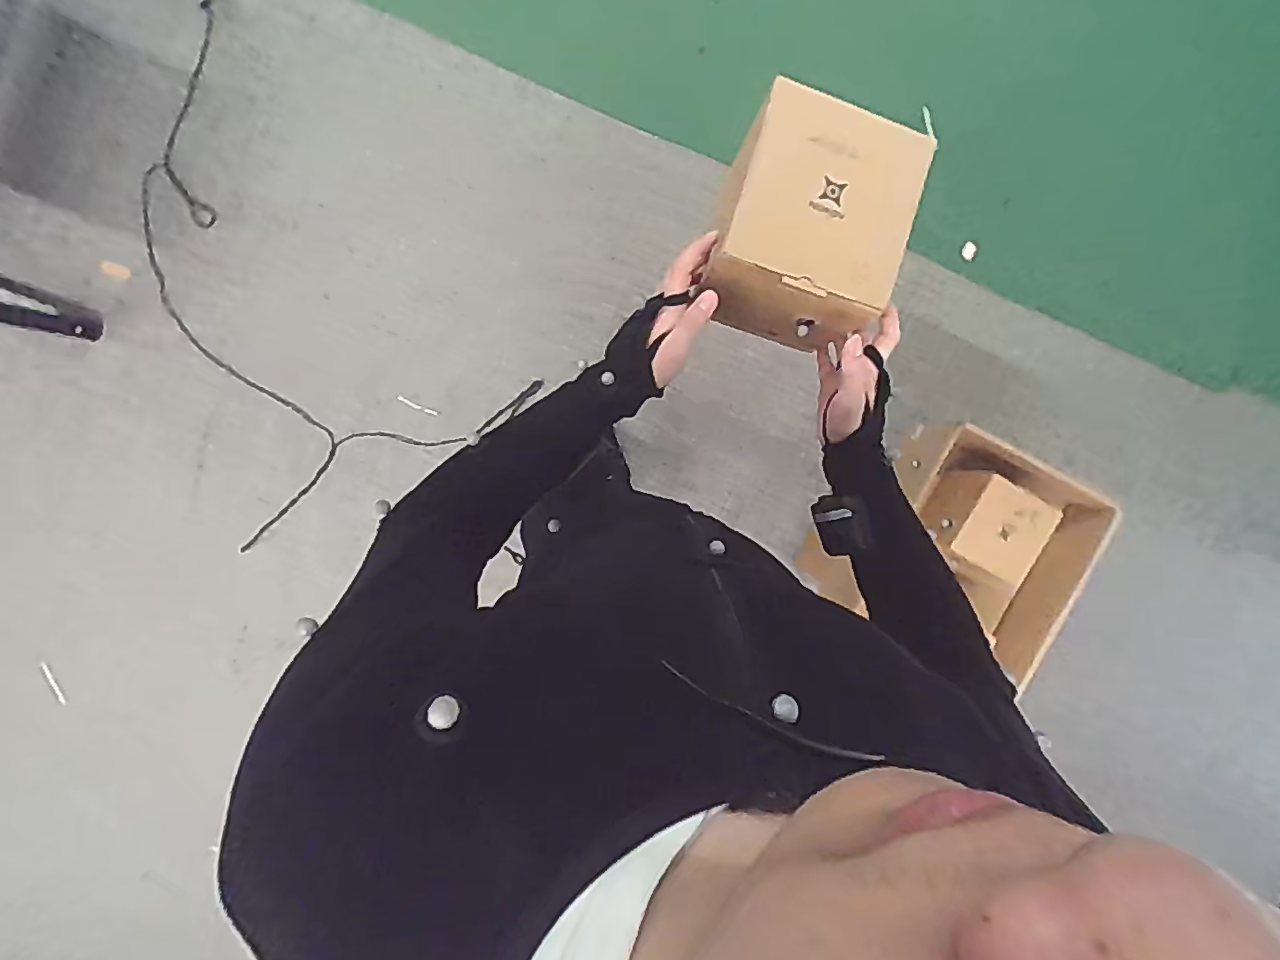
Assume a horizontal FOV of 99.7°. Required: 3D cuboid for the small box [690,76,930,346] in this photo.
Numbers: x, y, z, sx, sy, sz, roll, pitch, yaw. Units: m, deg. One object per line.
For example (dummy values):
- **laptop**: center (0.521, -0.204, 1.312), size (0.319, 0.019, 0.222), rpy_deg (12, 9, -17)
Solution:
- **small box**: center (0.162, -0.261, 0.574), size (0.168, 0.176, 0.179), rpy_deg (17, 88, -7)
